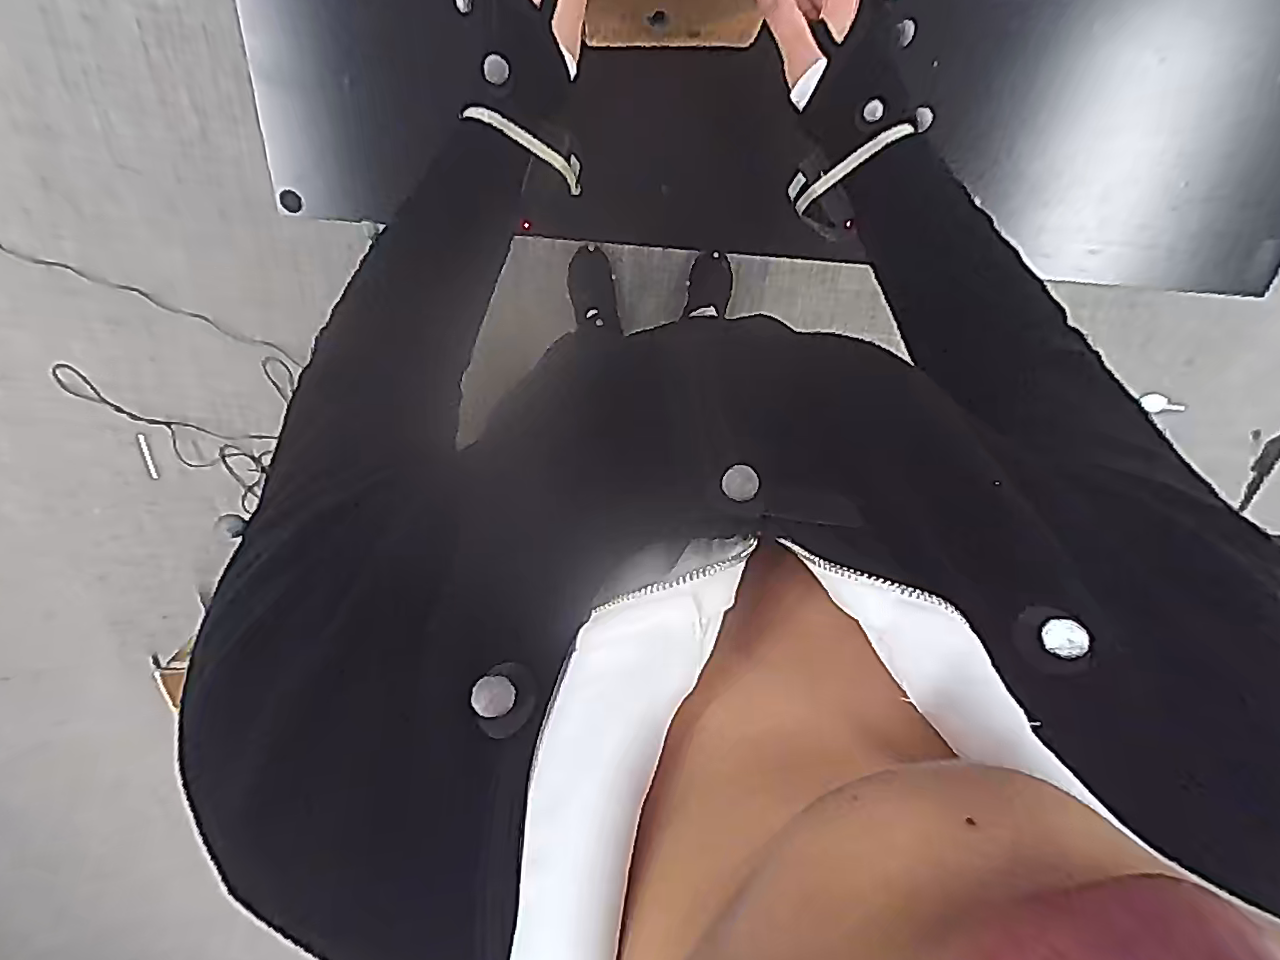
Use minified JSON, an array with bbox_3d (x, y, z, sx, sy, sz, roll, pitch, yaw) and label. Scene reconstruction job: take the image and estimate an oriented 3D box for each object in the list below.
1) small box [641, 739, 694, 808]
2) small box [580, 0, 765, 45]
[{"bbox_3d":[0.100,1.118,2.065,0.179,0.176,0.168,6,116,-4],"label":"small box"},{"bbox_3d":[0.026,-0.487,0.429,0.168,0.176,0.179,-2,111,-2],"label":"small box"}]
